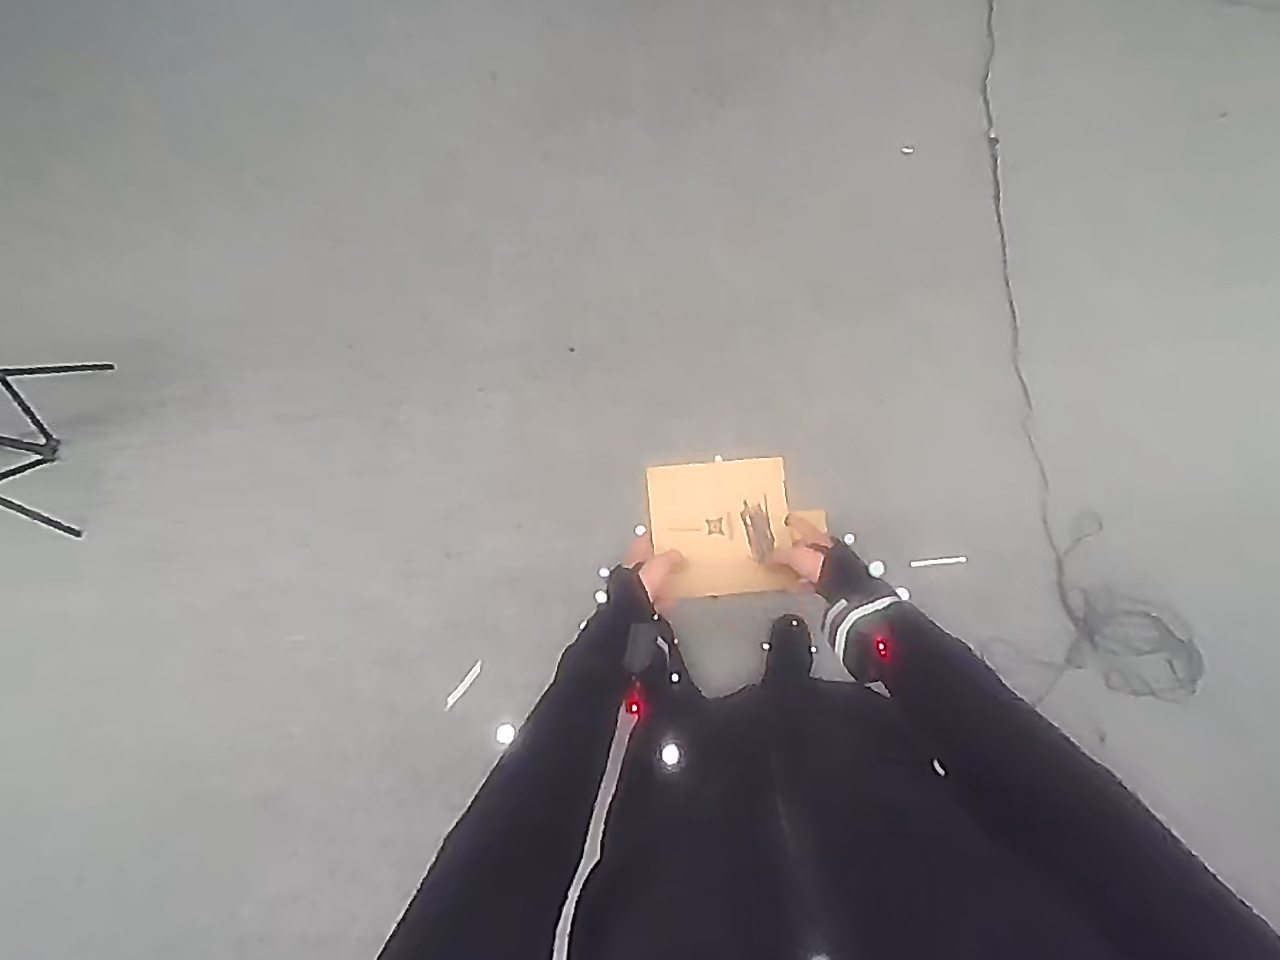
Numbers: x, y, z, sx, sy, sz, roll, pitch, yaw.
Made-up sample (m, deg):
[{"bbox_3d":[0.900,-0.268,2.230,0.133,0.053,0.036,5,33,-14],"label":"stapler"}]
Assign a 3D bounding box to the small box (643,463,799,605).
[{"bbox_3d":[0.099,0.073,0.744,0.179,0.176,0.168,-5,83,-2],"label":"small box"}]
